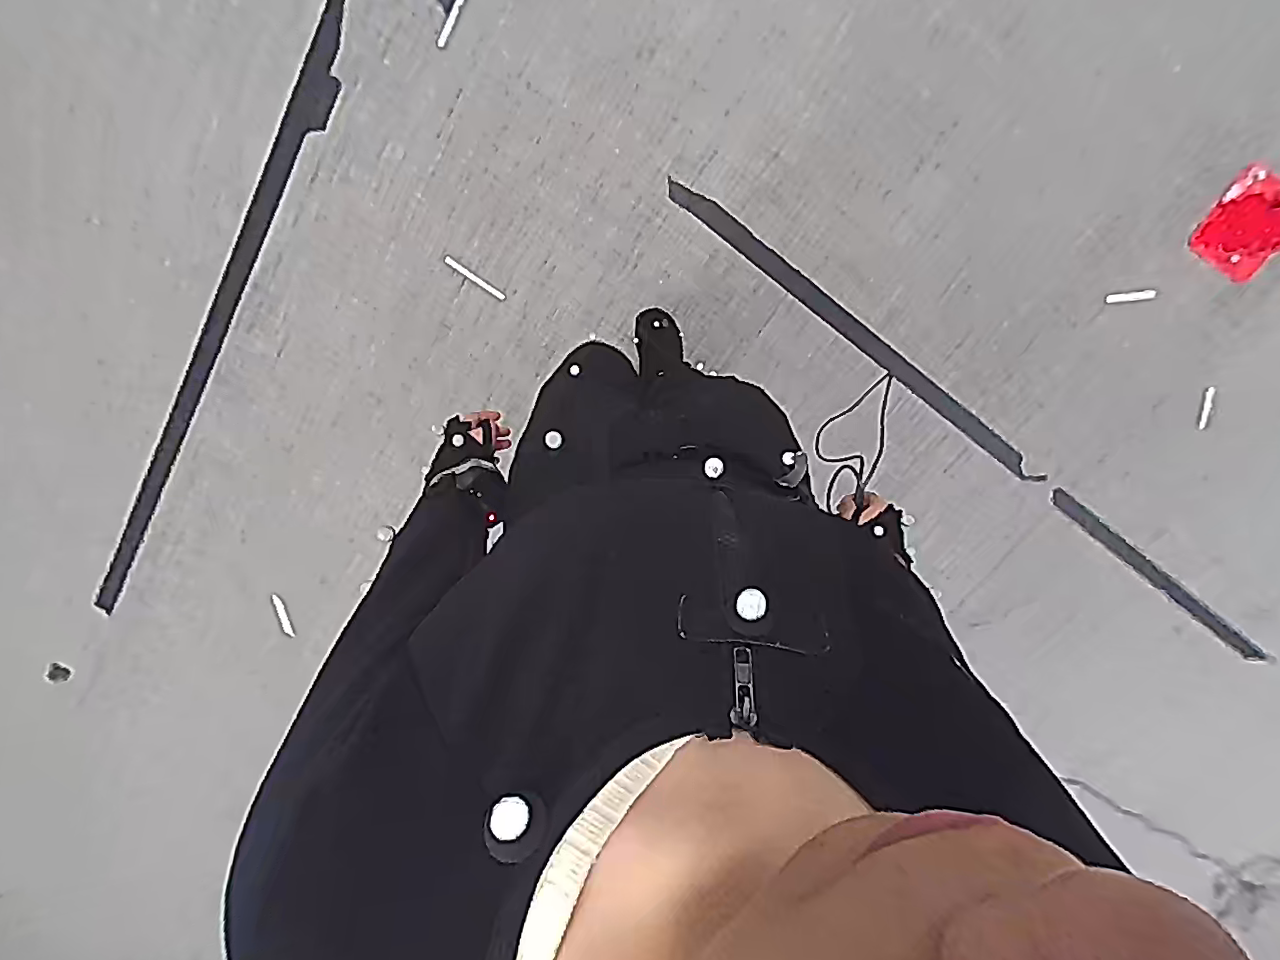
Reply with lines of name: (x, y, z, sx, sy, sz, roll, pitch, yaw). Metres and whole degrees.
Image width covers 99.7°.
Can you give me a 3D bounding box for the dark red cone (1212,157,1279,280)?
dark red cone: (1.405, -0.518, 1.050, 0.202, 0.394, 0.201, 25, 108, -11)
